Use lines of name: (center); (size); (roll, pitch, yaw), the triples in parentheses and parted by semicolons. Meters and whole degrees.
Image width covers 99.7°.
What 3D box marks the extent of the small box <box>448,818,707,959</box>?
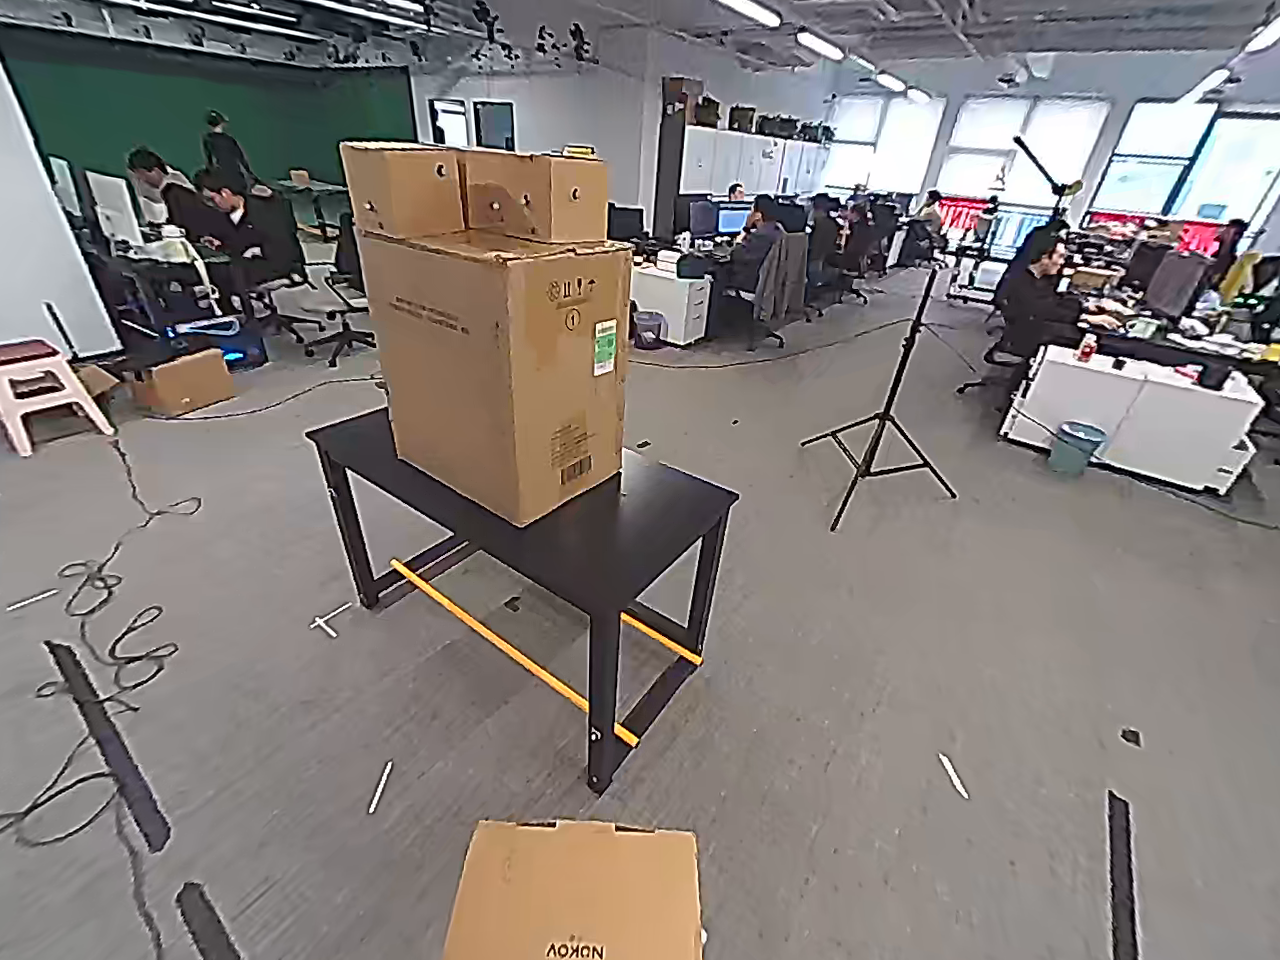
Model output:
small box: (-0.044, 0.371, 0.380); (0.168, 0.176, 0.179); (3, 37, -1)

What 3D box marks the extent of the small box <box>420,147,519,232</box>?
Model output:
small box: (-0.422, -0.724, 1.353); (0.179, 0.176, 0.168); (25, 36, 28)
